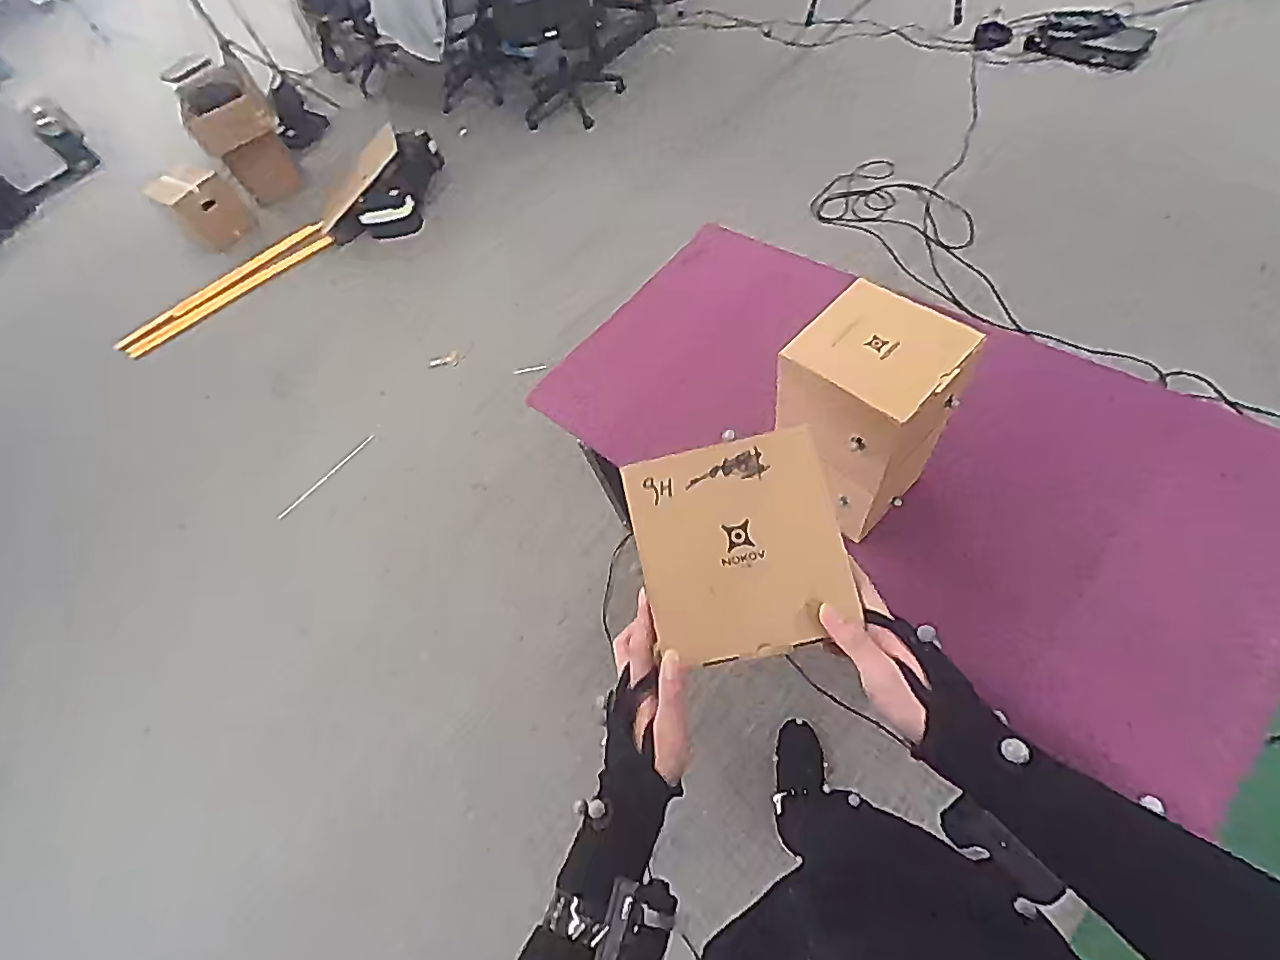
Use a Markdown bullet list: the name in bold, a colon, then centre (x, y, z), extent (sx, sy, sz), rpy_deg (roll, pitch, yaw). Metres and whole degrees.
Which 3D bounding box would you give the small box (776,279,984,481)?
- **small box**: centre (0.301, -0.123, 0.717), extent (0.168, 0.176, 0.179), rpy_deg (-43, 60, -12)

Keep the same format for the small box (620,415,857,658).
- **small box**: centre (0.083, 0.054, 0.522), extent (0.168, 0.176, 0.179), rpy_deg (-12, 82, 1)
